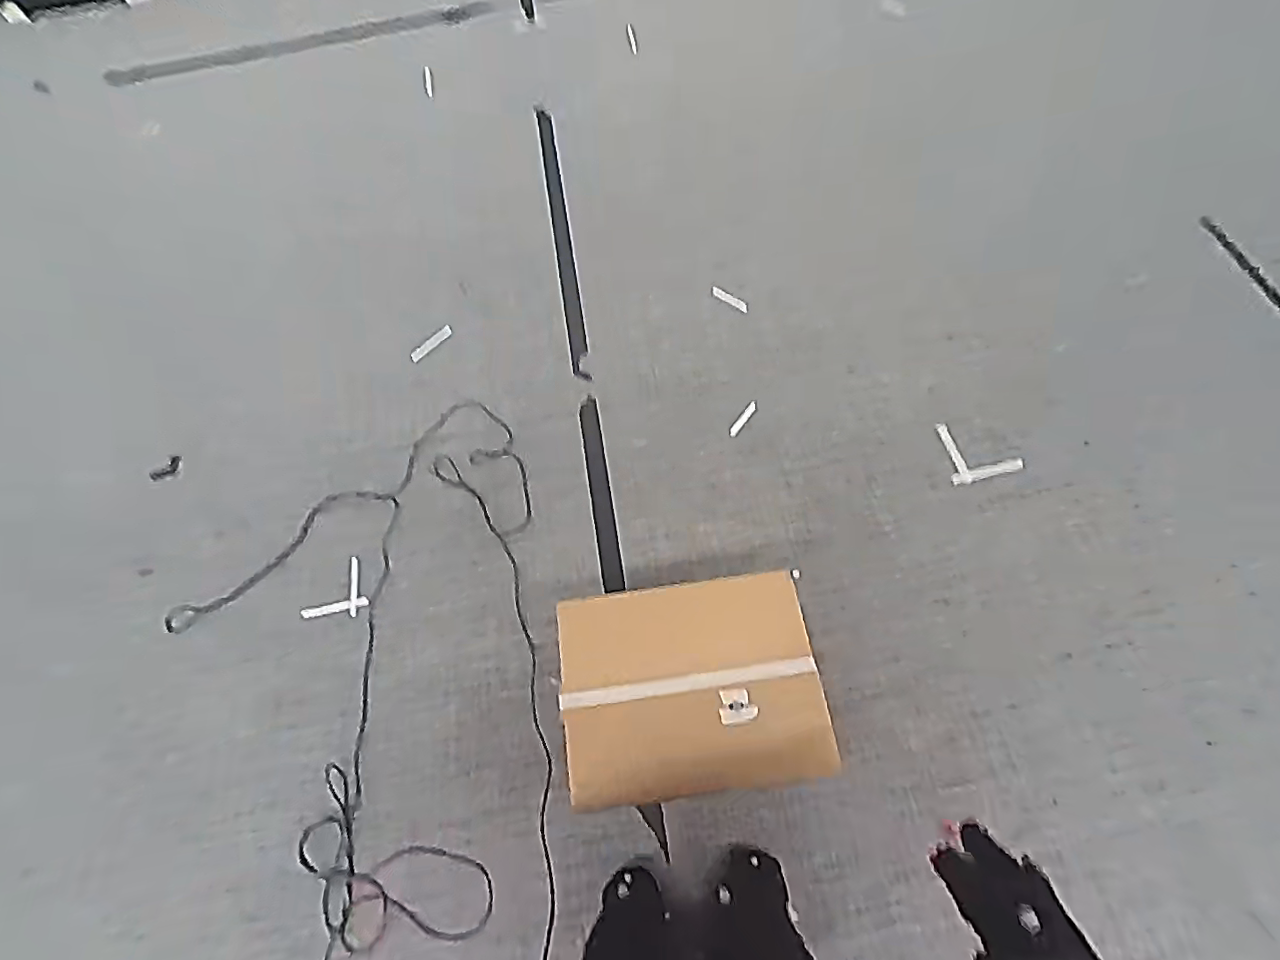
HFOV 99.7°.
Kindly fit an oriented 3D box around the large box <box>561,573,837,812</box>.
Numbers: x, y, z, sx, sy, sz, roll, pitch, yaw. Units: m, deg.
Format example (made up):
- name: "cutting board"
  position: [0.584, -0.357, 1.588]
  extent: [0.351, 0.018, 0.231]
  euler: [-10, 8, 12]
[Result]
- name: "large box"
  position: [0.086, 0.391, 1.002]
  extent: [0.408, 0.320, 0.320]
  euler: [-8, 65, -1]
